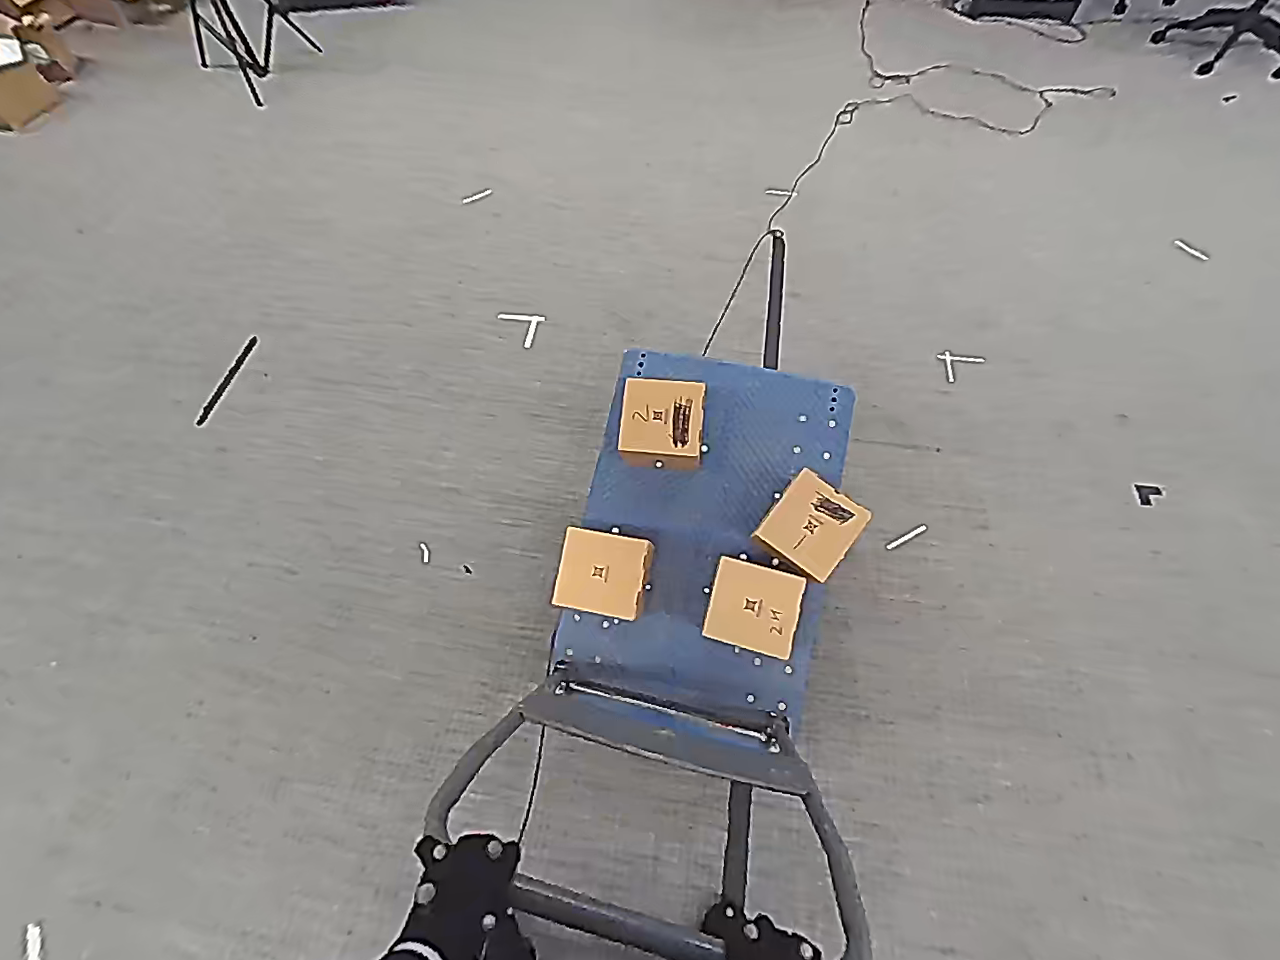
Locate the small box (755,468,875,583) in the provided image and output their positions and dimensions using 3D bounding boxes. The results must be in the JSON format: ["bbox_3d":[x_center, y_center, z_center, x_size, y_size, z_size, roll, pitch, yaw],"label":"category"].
[{"bbox_3d":[0.362,0.102,1.163,0.168,0.176,0.179,37,86,12],"label":"small box"}]

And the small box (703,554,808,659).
[{"bbox_3d":[0.237,0.263,1.146,0.179,0.176,0.168,15,82,9],"label":"small box"}]

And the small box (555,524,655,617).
[{"bbox_3d":[-0.070,0.201,1.191,0.179,0.176,0.168,10,80,6],"label":"small box"}]
